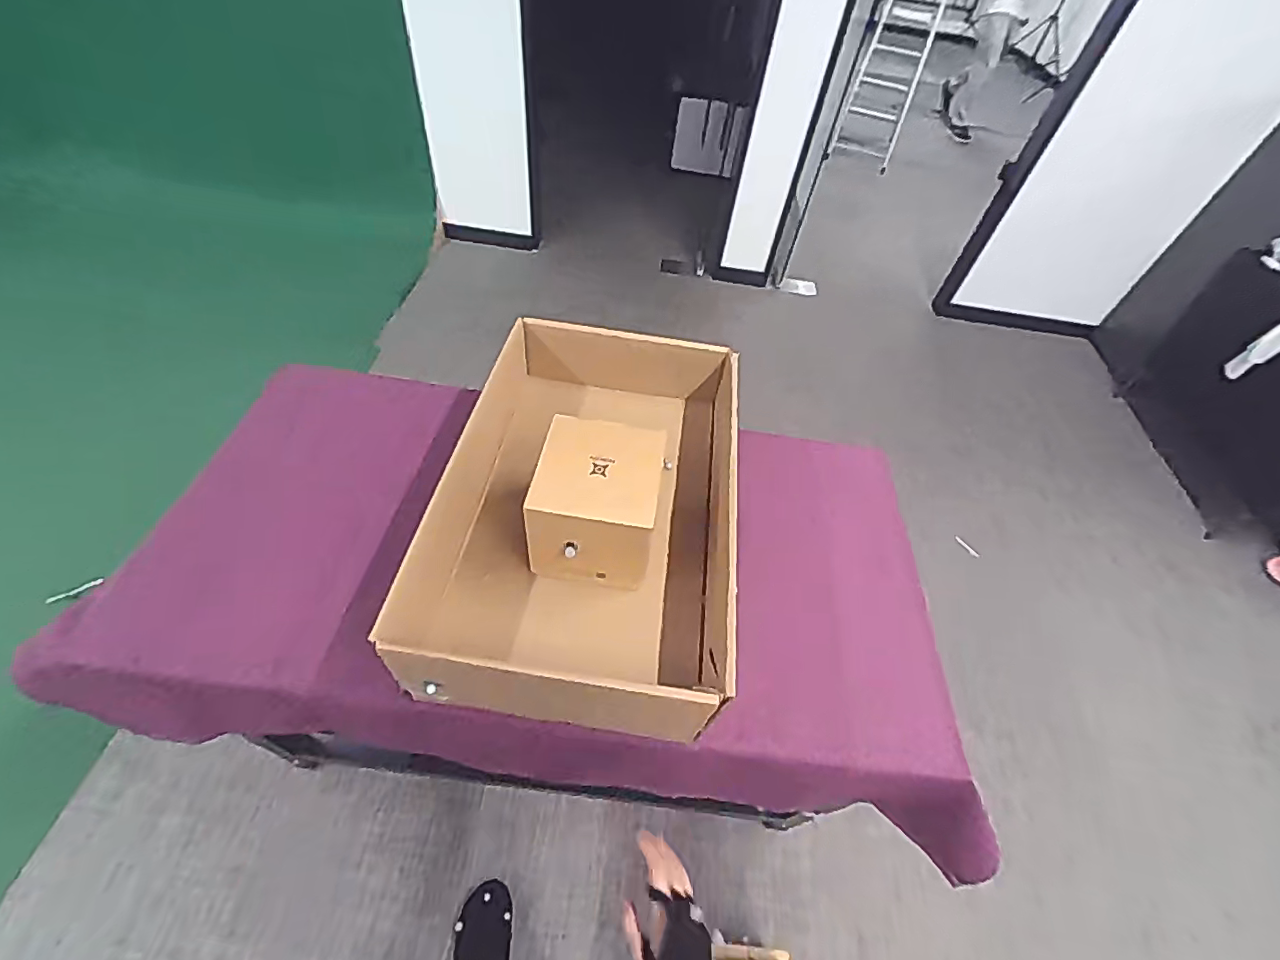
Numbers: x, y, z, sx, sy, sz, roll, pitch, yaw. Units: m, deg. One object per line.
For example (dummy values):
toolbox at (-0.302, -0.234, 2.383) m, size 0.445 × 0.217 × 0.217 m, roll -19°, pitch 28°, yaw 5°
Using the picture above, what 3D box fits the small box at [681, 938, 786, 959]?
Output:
small box at (0.177, 1.002, 1.043) m, size 0.179 × 0.176 × 0.168 m, roll 7°, pitch 51°, yaw -1°

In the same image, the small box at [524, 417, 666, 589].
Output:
small box at (-0.059, 0.037, 0.783) m, size 0.168 × 0.176 × 0.179 m, roll 9°, pitch 50°, yaw 1°
